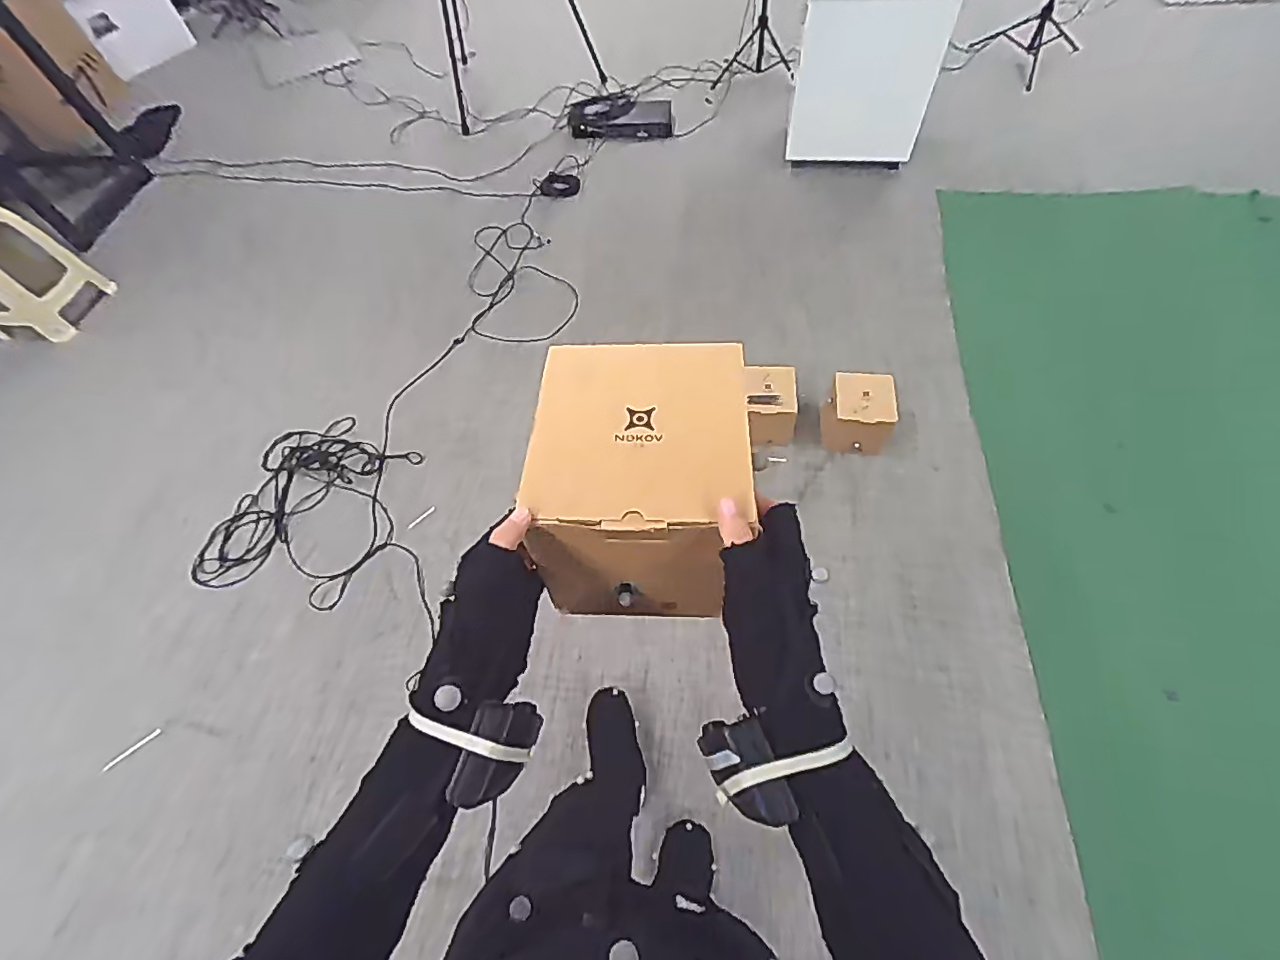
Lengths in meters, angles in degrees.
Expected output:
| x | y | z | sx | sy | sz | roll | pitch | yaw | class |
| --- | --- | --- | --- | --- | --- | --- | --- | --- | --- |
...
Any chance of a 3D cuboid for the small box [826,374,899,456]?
| x | y | z | sx | sy | sz | roll | pitch | yaw | class |
| --- | --- | --- | --- | --- | --- | --- | --- | --- | --- |
| 0.662 | -0.195 | 1.628 | 0.168 | 0.176 | 0.179 | 4 | 61 | 9 | small box |
